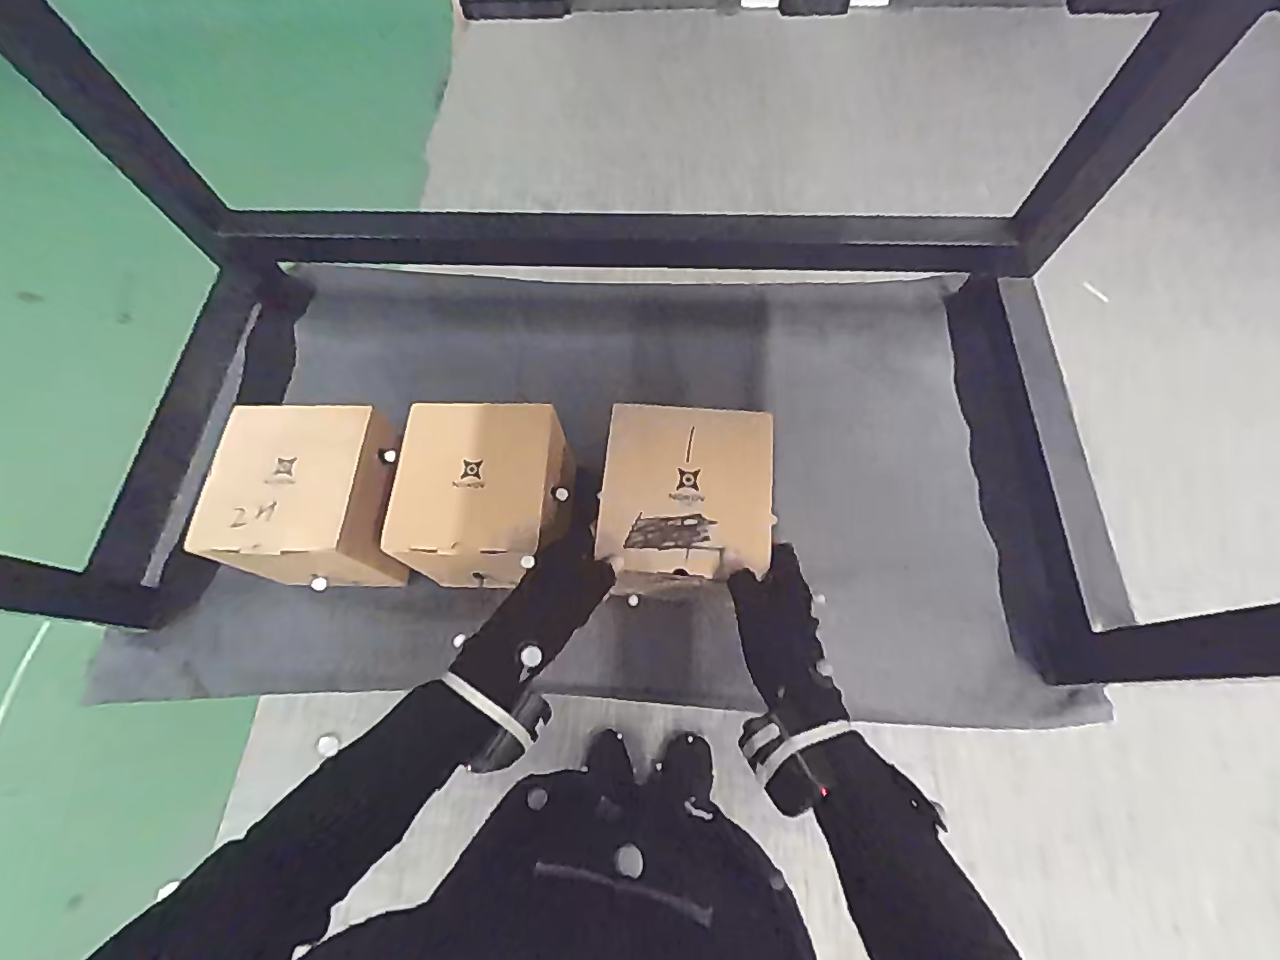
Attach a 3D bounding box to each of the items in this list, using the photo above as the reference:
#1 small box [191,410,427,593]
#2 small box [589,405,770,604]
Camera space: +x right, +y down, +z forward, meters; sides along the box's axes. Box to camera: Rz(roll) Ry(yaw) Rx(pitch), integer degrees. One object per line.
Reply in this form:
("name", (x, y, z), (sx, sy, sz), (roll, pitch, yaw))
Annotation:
("small box", (-0.381, 0.031, 0.664), (0.168, 0.176, 0.179), (0, 66, 3))
("small box", (0.047, 0.037, 0.603), (0.168, 0.176, 0.179), (5, 69, 5))
